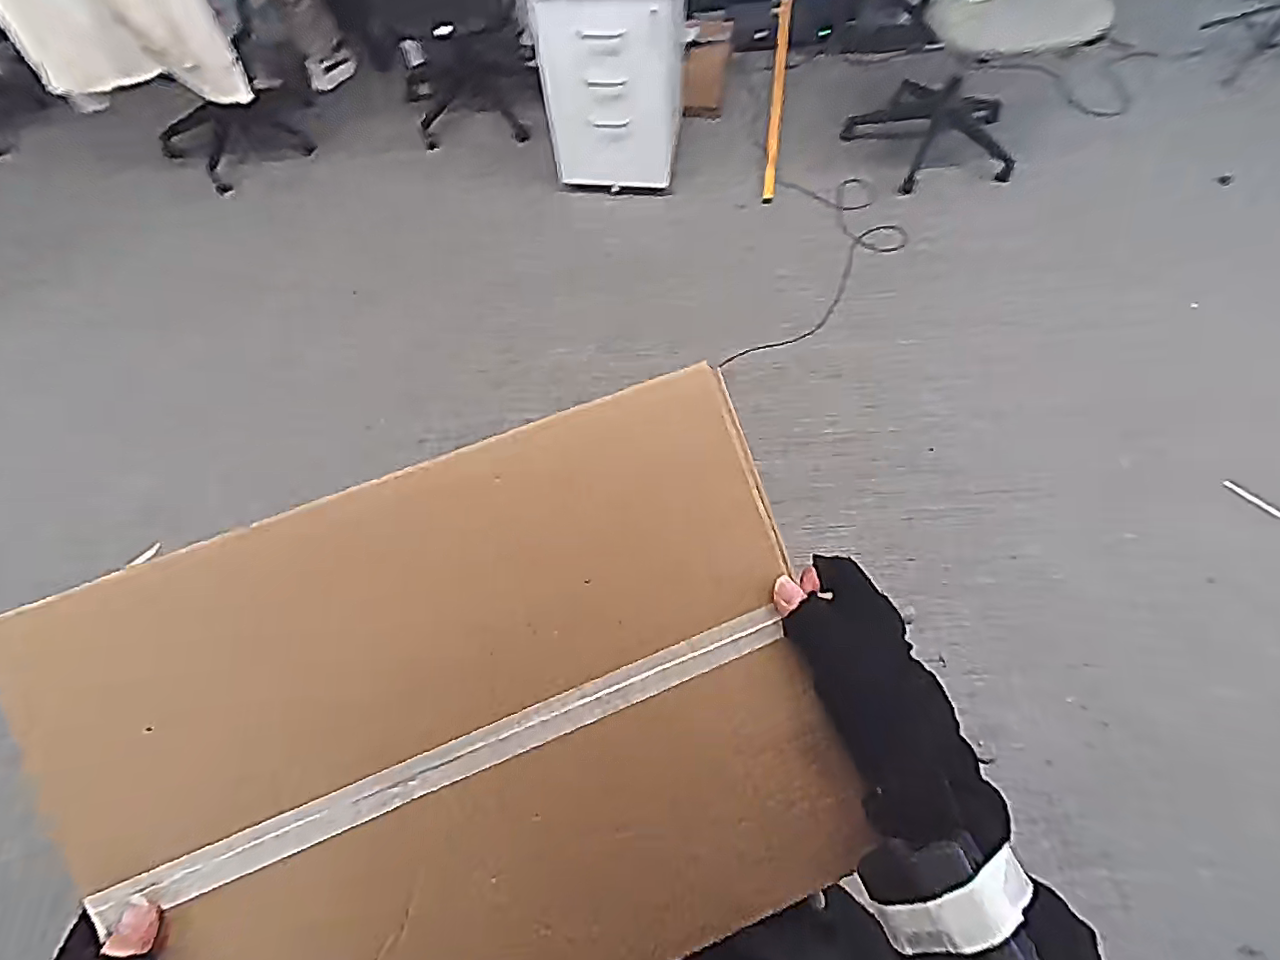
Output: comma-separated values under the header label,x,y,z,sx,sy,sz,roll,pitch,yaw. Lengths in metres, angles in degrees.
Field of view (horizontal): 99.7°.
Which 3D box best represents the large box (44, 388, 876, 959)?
label,x,y,z,sx,sy,sz,roll,pitch,yaw
large box,-0.100,0.155,0.462,0.408,0.320,0.320,-20,90,-6
